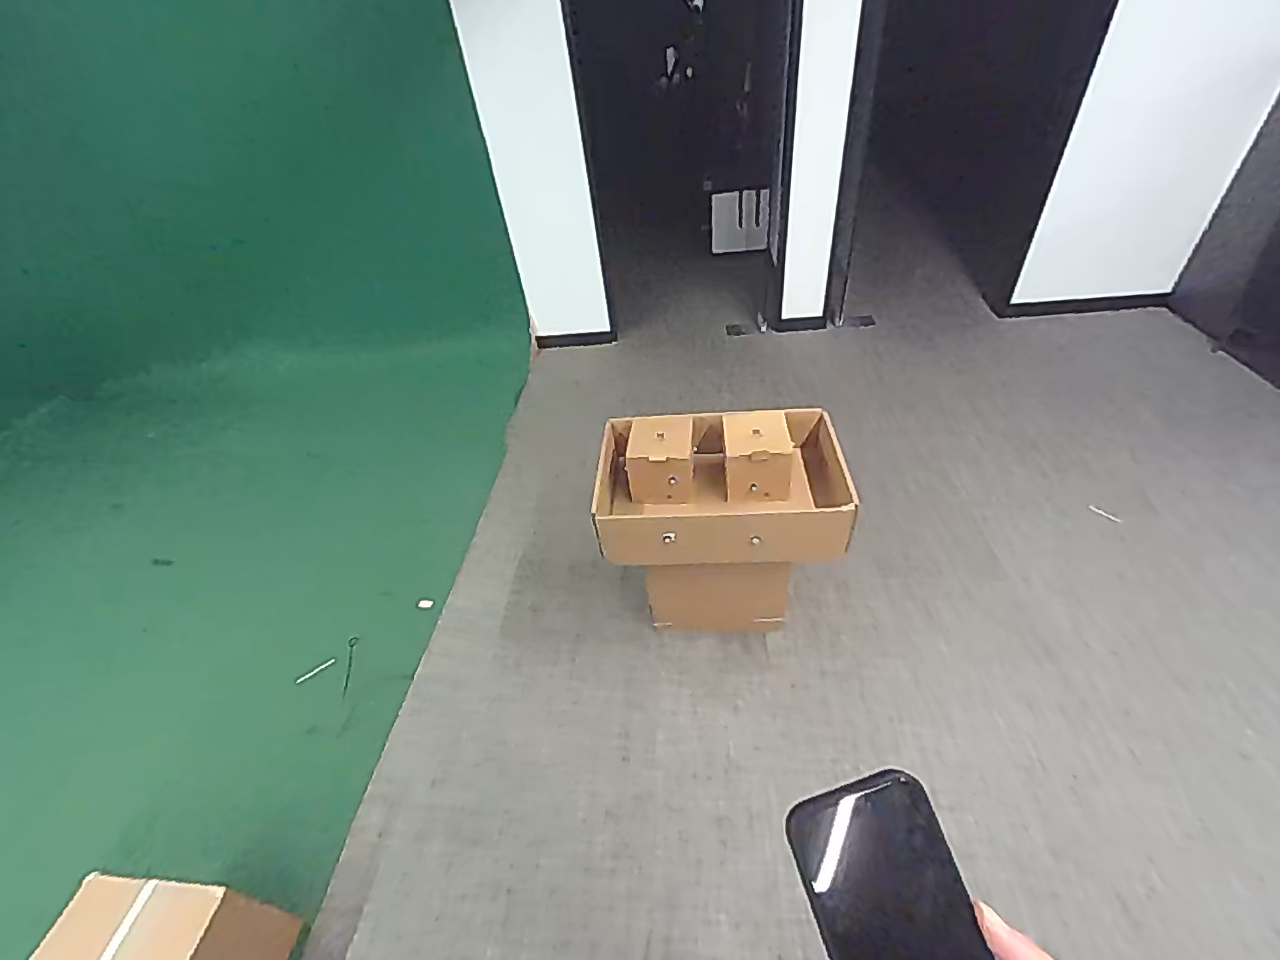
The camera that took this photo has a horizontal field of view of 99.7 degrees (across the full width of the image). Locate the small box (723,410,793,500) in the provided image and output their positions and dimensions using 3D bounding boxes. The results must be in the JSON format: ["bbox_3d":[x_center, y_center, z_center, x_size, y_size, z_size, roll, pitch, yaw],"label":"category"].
[{"bbox_3d":[0.310,-0.066,1.449,0.168,0.176,0.179,-3,43,7],"label":"small box"}]
